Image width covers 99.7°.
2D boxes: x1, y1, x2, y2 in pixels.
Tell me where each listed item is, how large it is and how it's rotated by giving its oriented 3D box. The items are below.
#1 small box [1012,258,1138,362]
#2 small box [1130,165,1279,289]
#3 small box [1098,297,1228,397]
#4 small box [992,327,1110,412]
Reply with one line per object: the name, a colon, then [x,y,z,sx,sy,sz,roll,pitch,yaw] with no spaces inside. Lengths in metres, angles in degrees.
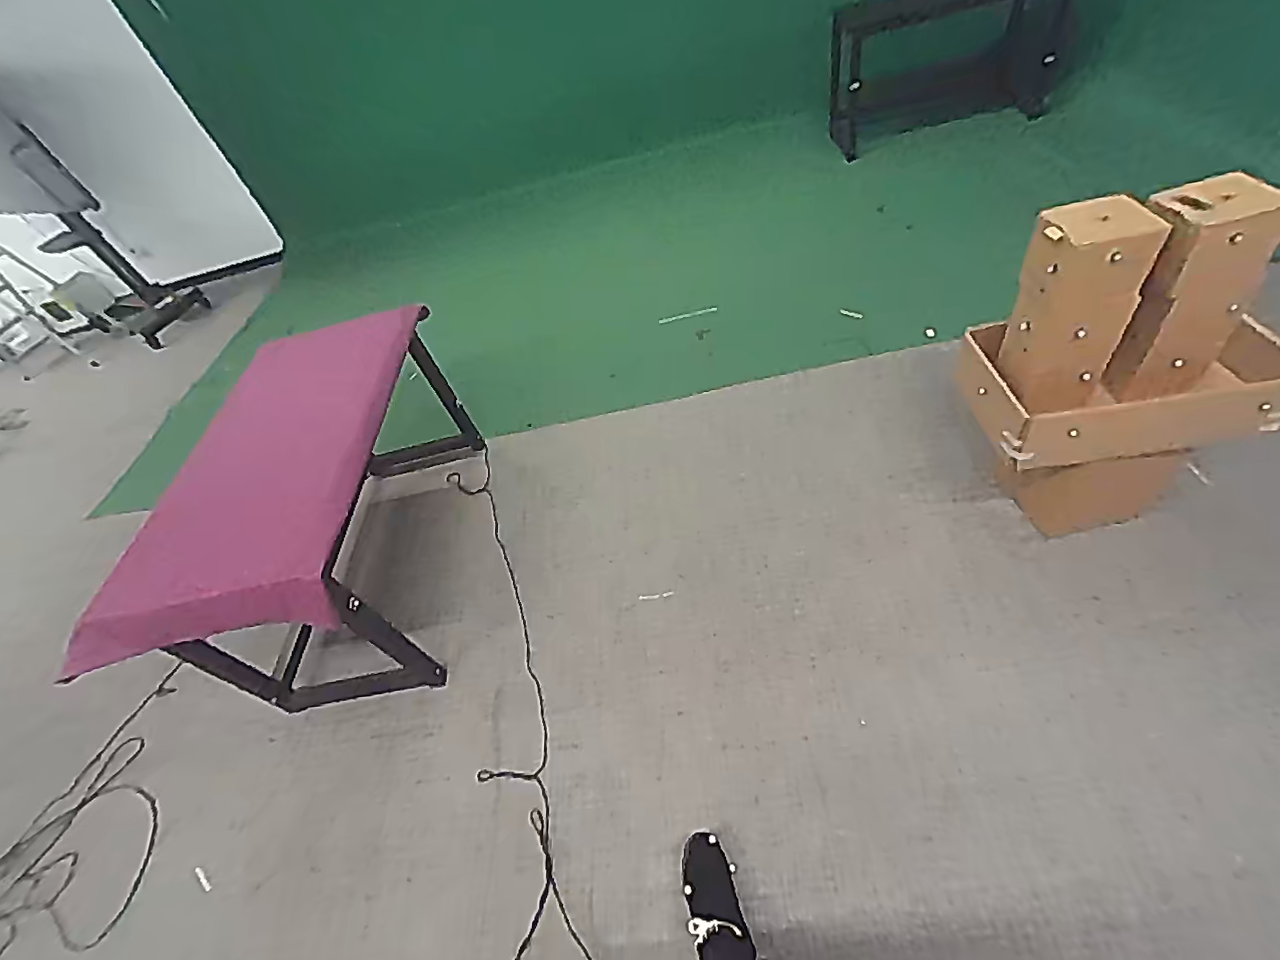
small box: [1.050,-0.411,1.330,0.179,0.176,0.168,-9,48,10]
small box: [1.221,-0.542,1.173,0.179,0.176,0.168,-14,47,9]
small box: [1.335,-0.342,1.409,0.179,0.176,0.168,-12,48,11]
small box: [1.087,-0.306,1.448,0.179,0.176,0.168,-8,47,9]
